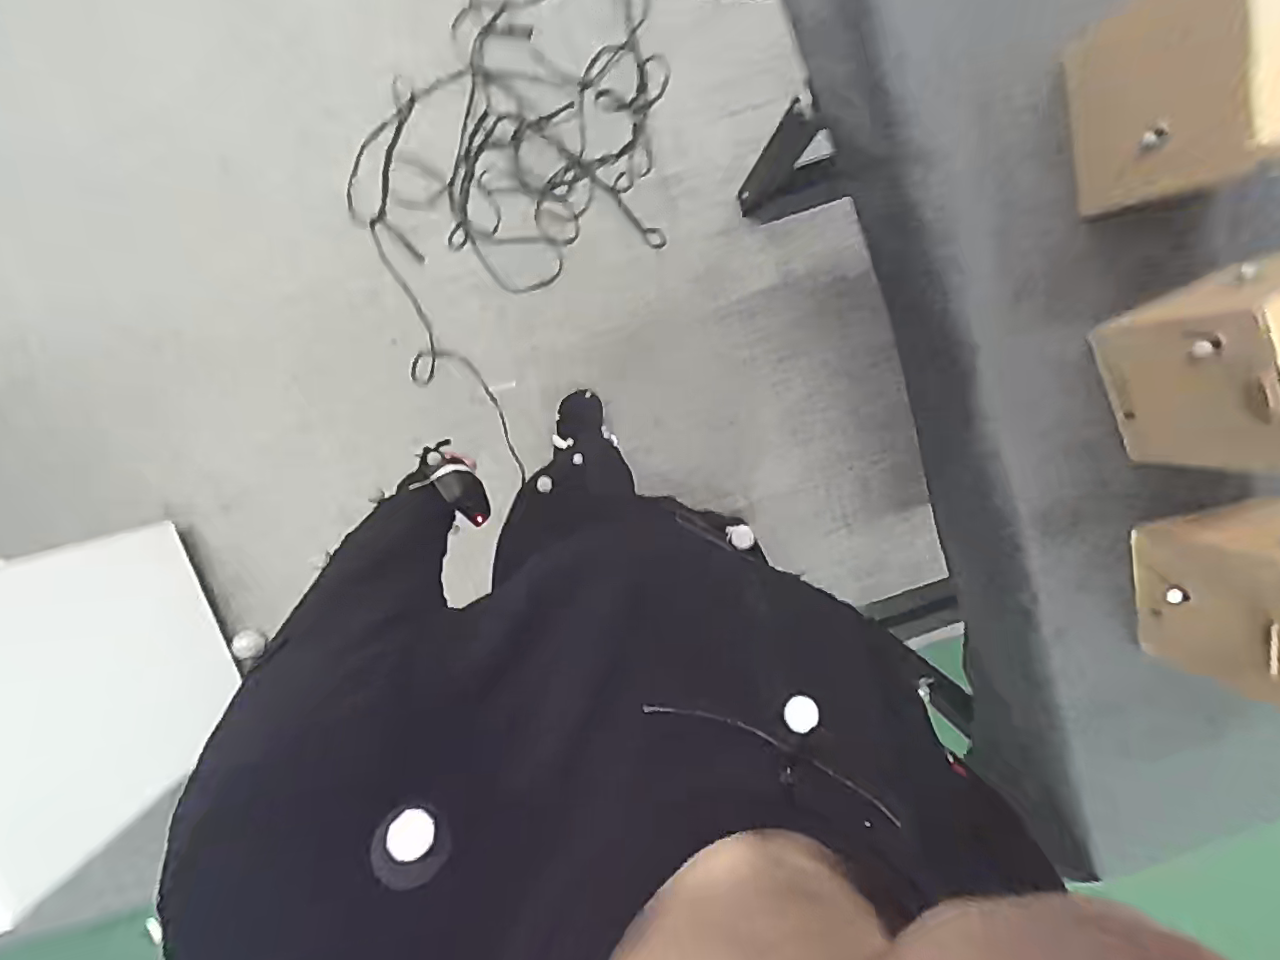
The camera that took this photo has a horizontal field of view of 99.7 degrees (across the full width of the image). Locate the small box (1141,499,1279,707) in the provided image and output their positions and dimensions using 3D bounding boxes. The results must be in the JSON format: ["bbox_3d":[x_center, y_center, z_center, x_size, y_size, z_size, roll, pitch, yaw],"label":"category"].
[{"bbox_3d":[0.711,0.126,0.590,0.179,0.176,0.168,-13,98,-1],"label":"small box"}]

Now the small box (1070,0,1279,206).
[{"bbox_3d":[0.558,-0.383,0.512,0.168,0.176,0.179,-14,97,-3],"label":"small box"}]
